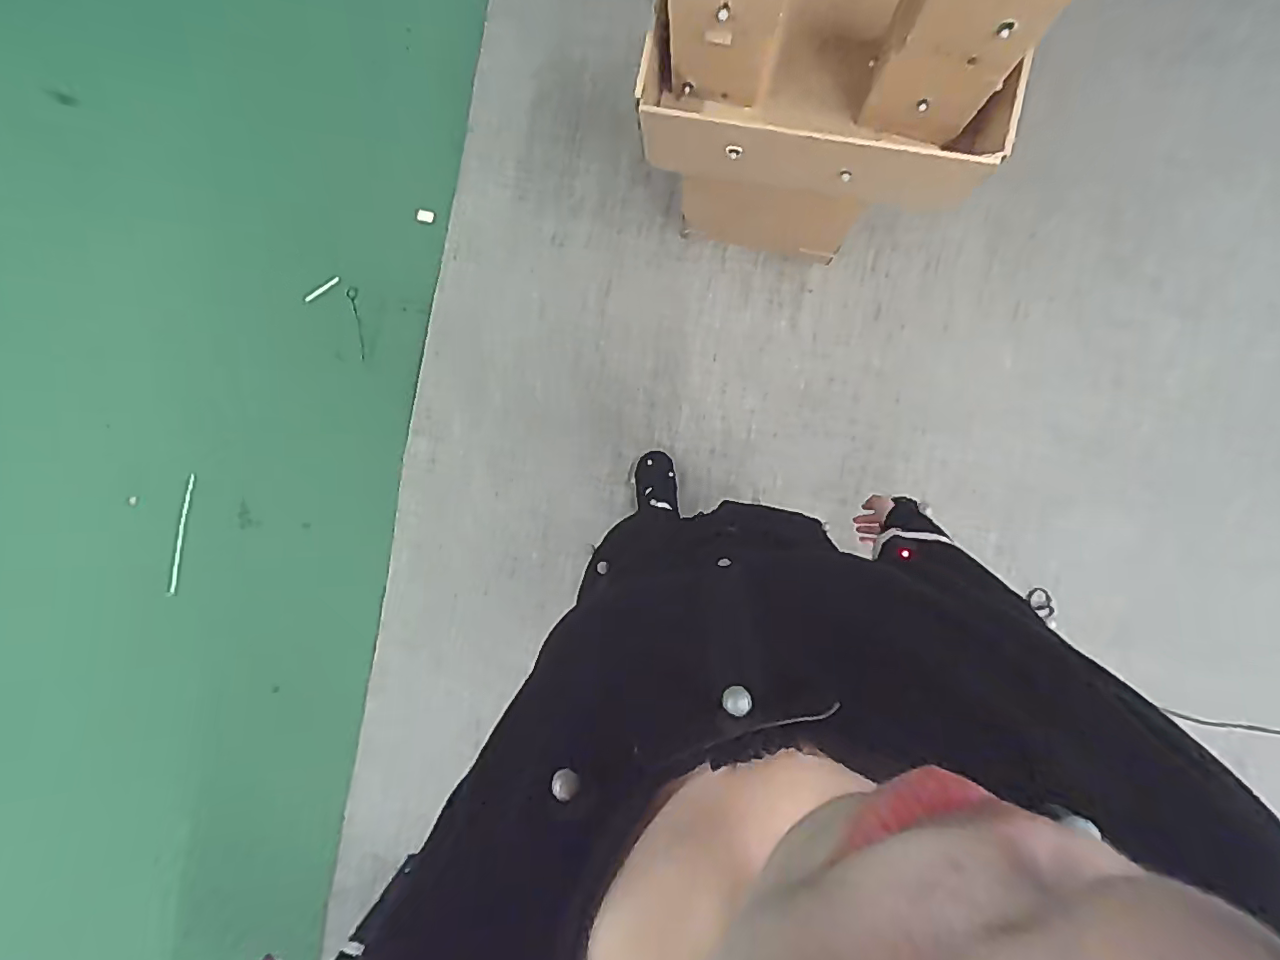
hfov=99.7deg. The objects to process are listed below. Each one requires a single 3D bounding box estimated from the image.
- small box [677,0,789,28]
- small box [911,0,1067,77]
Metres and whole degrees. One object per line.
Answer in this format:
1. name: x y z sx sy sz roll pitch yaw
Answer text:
1. small box: 0.153 -0.808 0.783 0.179 0.176 0.168 12 90 5
2. small box: 0.506 -0.714 0.750 0.168 0.176 0.179 19 90 4
